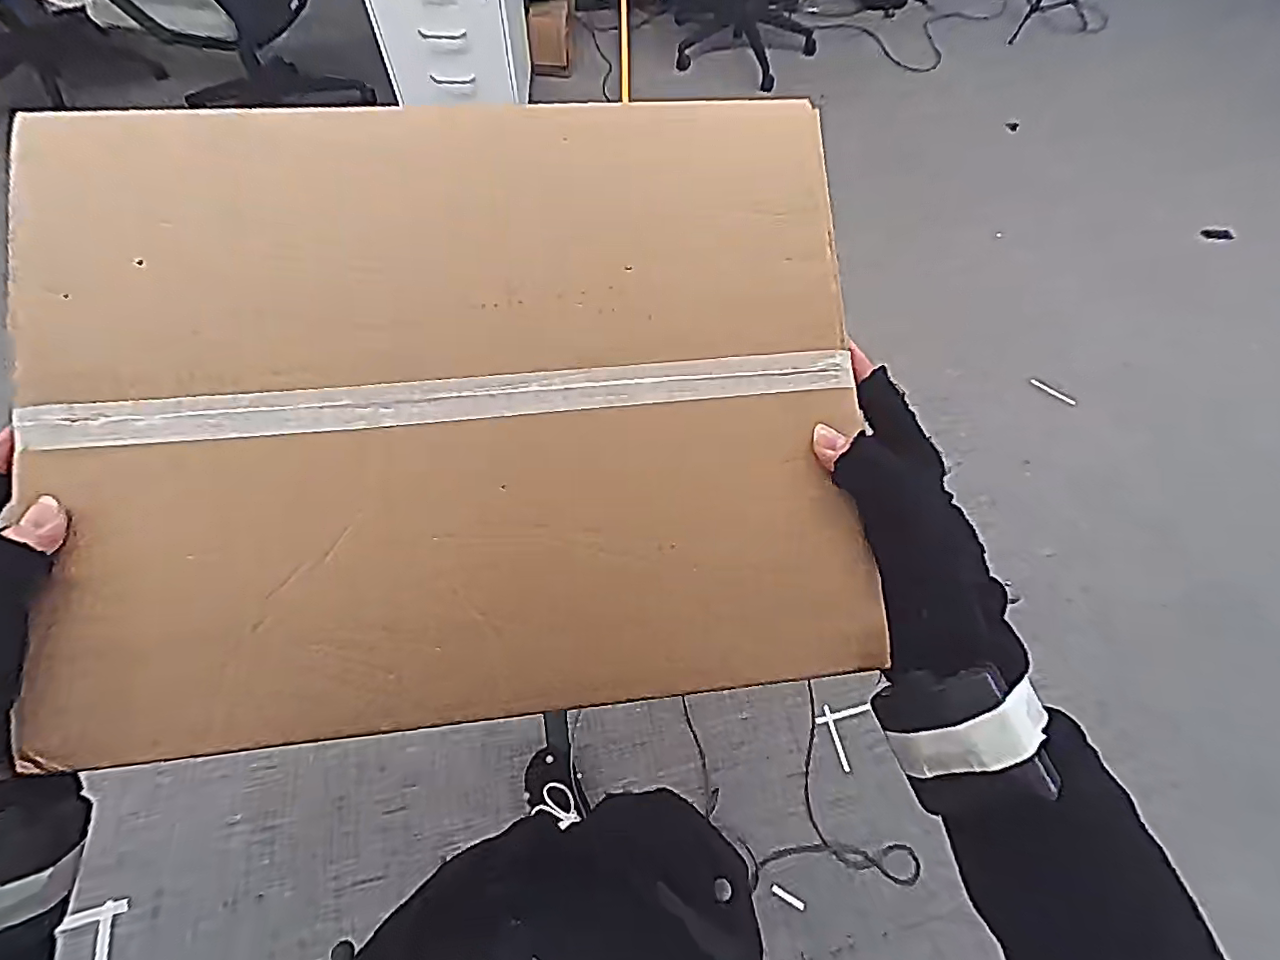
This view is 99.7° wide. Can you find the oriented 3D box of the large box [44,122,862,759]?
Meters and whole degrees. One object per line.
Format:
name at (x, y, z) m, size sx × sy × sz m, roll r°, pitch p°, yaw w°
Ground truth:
large box at (-0.101, -0.026, 0.431) m, size 0.408 × 0.320 × 0.320 m, roll -5°, pitch 85°, yaw -6°
